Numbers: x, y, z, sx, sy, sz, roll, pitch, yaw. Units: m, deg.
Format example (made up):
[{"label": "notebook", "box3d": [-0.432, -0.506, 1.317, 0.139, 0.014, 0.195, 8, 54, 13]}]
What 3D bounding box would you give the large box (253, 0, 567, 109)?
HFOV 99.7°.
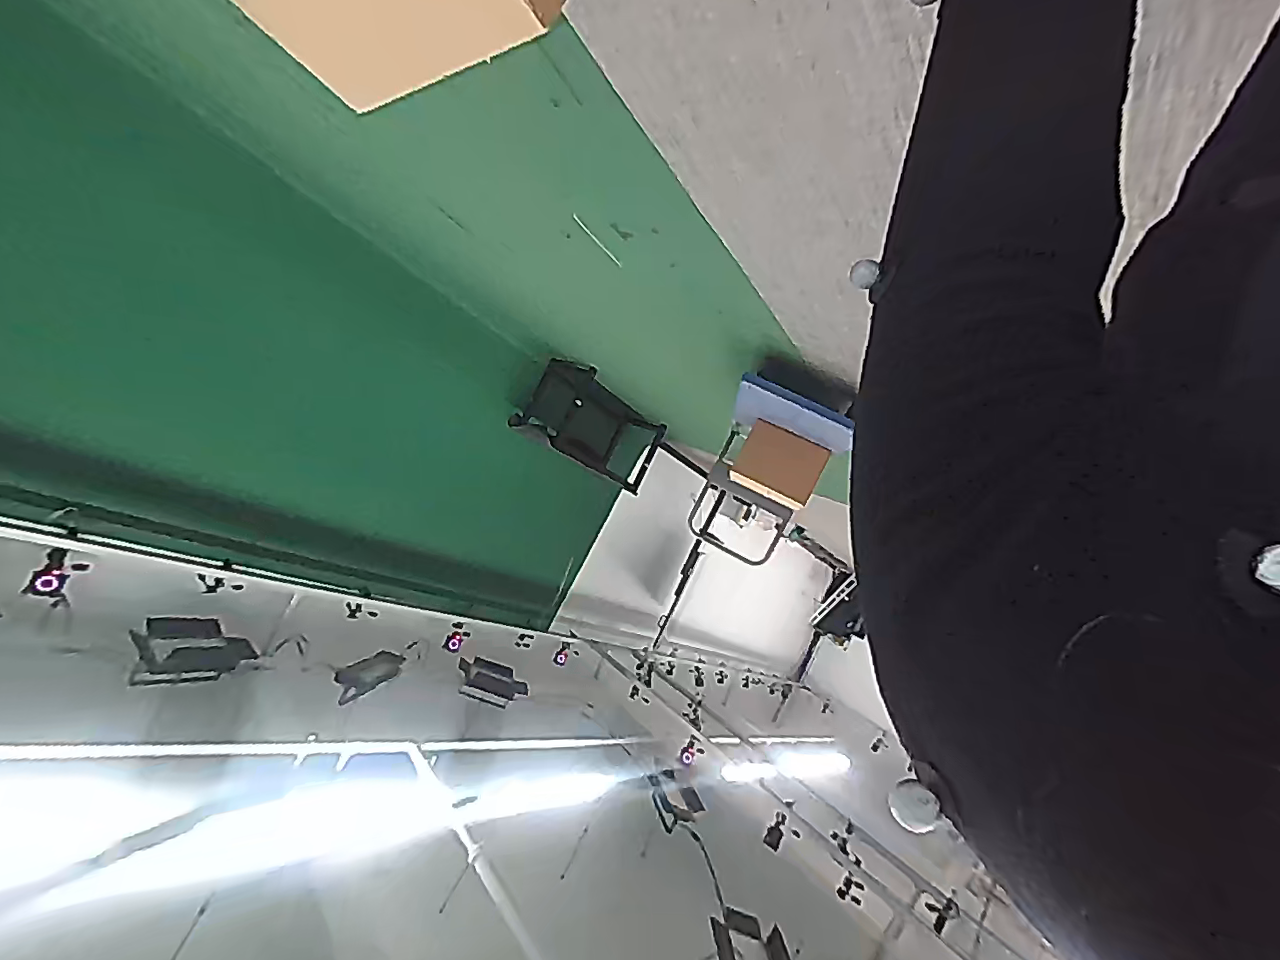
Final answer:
[{"label": "large box", "box3d": [-0.193, -0.569, 0.409, 0.408, 0.320, 0.320, 23, 171, 42]}]
